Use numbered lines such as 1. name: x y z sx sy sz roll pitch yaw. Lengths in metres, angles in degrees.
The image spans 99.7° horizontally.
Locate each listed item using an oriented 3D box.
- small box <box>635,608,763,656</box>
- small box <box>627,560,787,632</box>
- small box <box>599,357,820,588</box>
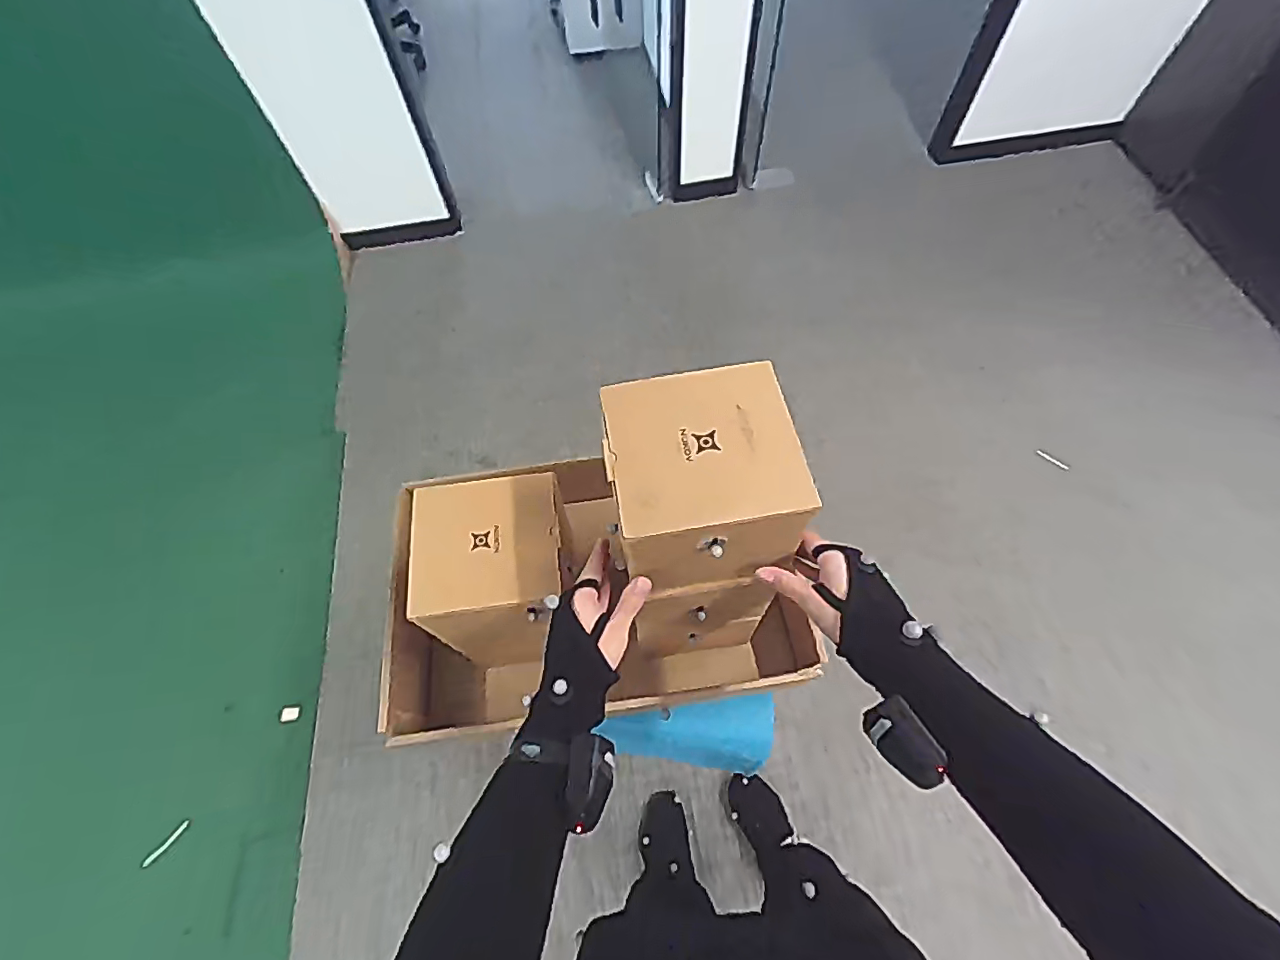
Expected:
1. small box: 0.081 0.167 0.840 0.179 0.176 0.168 -8 61 0
2. small box: 0.071 0.087 0.697 0.179 0.176 0.168 -9 61 0
3. small box: 0.062 0.002 0.558 0.179 0.176 0.168 -9 61 -1
